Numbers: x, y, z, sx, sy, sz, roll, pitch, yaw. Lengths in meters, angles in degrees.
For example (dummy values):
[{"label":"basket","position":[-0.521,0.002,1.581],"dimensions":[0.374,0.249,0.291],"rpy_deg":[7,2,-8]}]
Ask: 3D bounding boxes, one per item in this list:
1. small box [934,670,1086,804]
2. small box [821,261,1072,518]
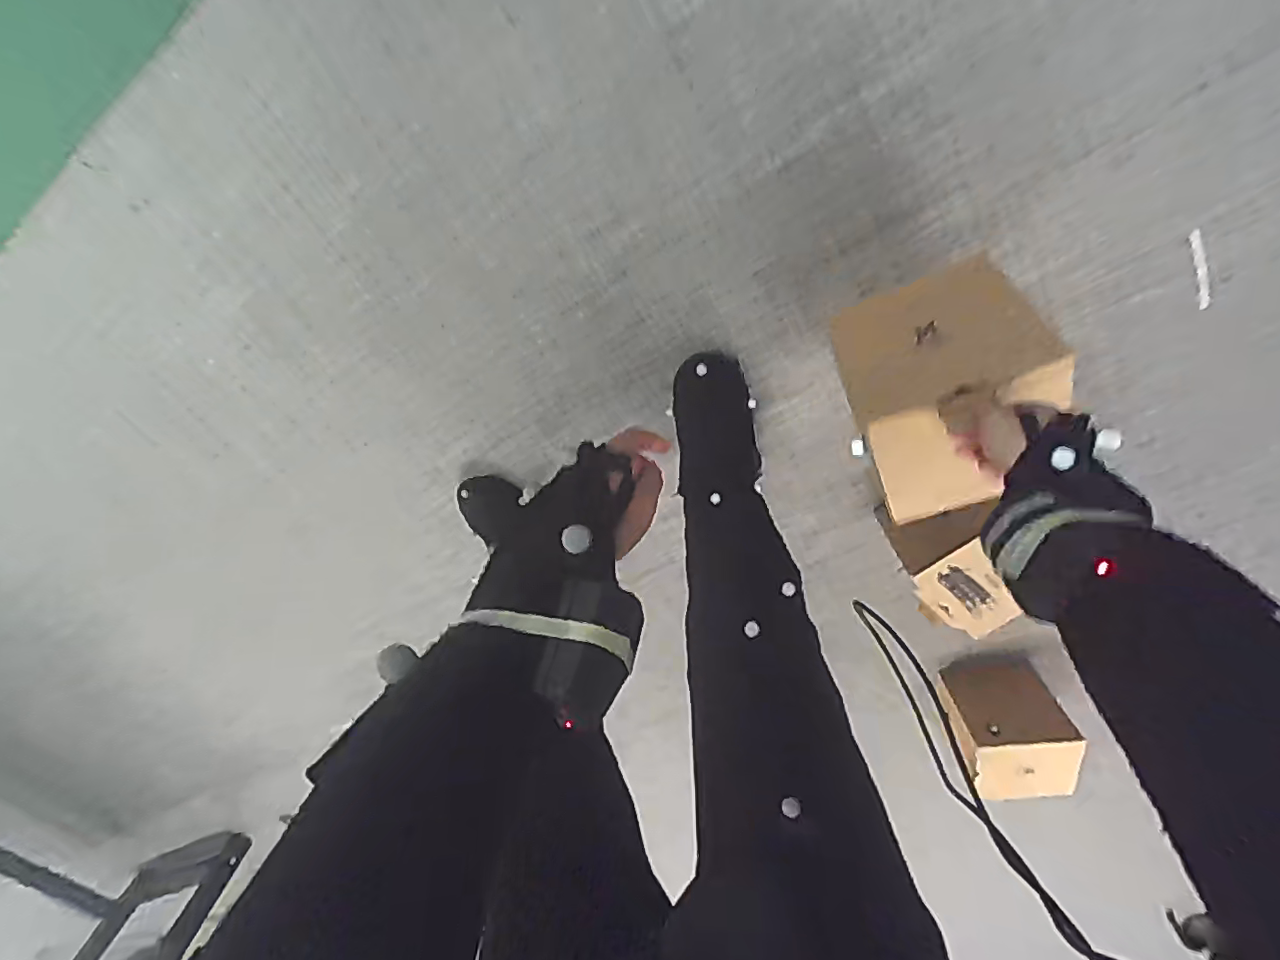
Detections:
[{"label":"small box","position":[0.689,0.482,1.028],"dimensions":[0.179,0.176,0.168],"rpy_deg":[-10,119,10]},{"label":"small box","position":[0.309,-0.080,0.558],"dimensions":[0.168,0.179,0.176],"rpy_deg":[-21,134,21]}]
